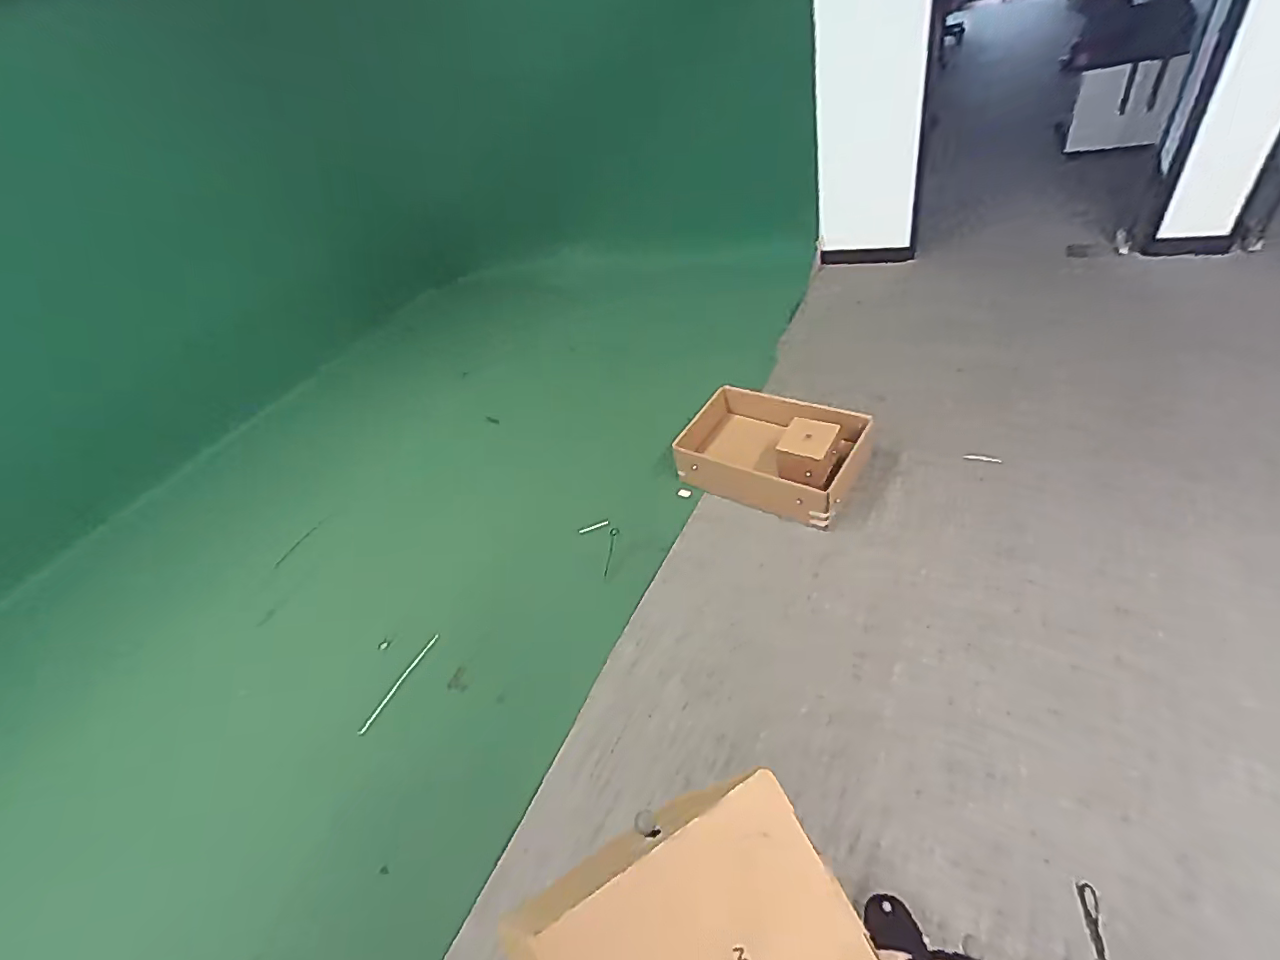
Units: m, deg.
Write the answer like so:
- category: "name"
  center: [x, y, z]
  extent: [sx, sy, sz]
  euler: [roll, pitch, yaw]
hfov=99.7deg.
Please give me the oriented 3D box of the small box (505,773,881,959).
- category: "small box"
  center: [0.030, 0.323, 0.349]
  extent: [0.179, 0.176, 0.168]
  euler: [-16, 62, -31]
